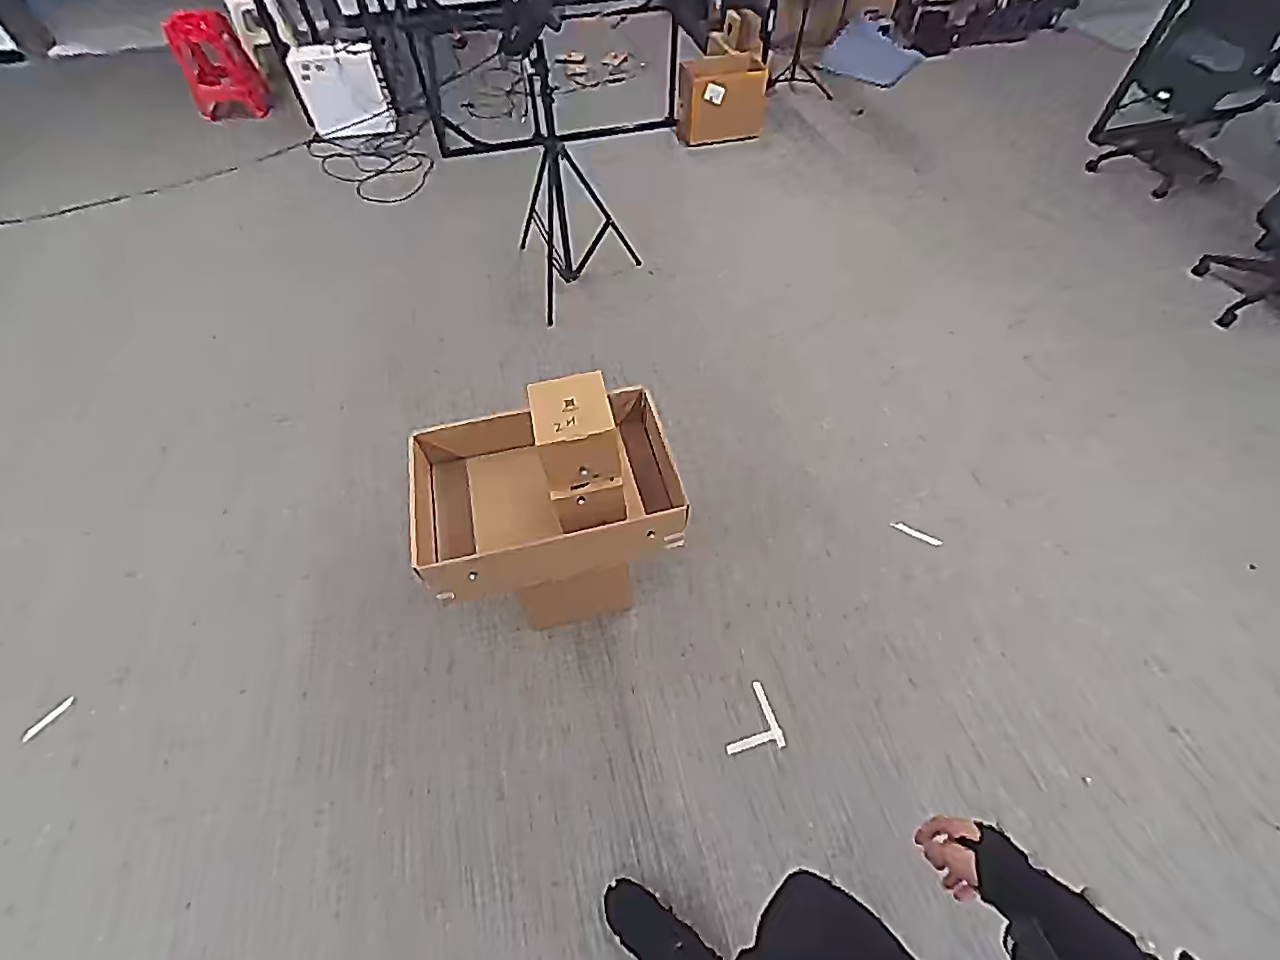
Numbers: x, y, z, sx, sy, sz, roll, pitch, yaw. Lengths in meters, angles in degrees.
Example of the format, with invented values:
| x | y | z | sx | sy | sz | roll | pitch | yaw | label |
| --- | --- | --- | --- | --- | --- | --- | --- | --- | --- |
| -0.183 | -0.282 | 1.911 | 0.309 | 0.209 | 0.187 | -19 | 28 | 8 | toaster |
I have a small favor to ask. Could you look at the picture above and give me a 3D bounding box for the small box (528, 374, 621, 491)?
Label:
| x | y | z | sx | sy | sz | roll | pitch | yaw | label |
| --- | --- | --- | --- | --- | --- | --- | --- | --- | --- |
| -0.142 | -0.101 | 1.191 | 0.168 | 0.176 | 0.179 | -12 | 57 | -4 | small box |
